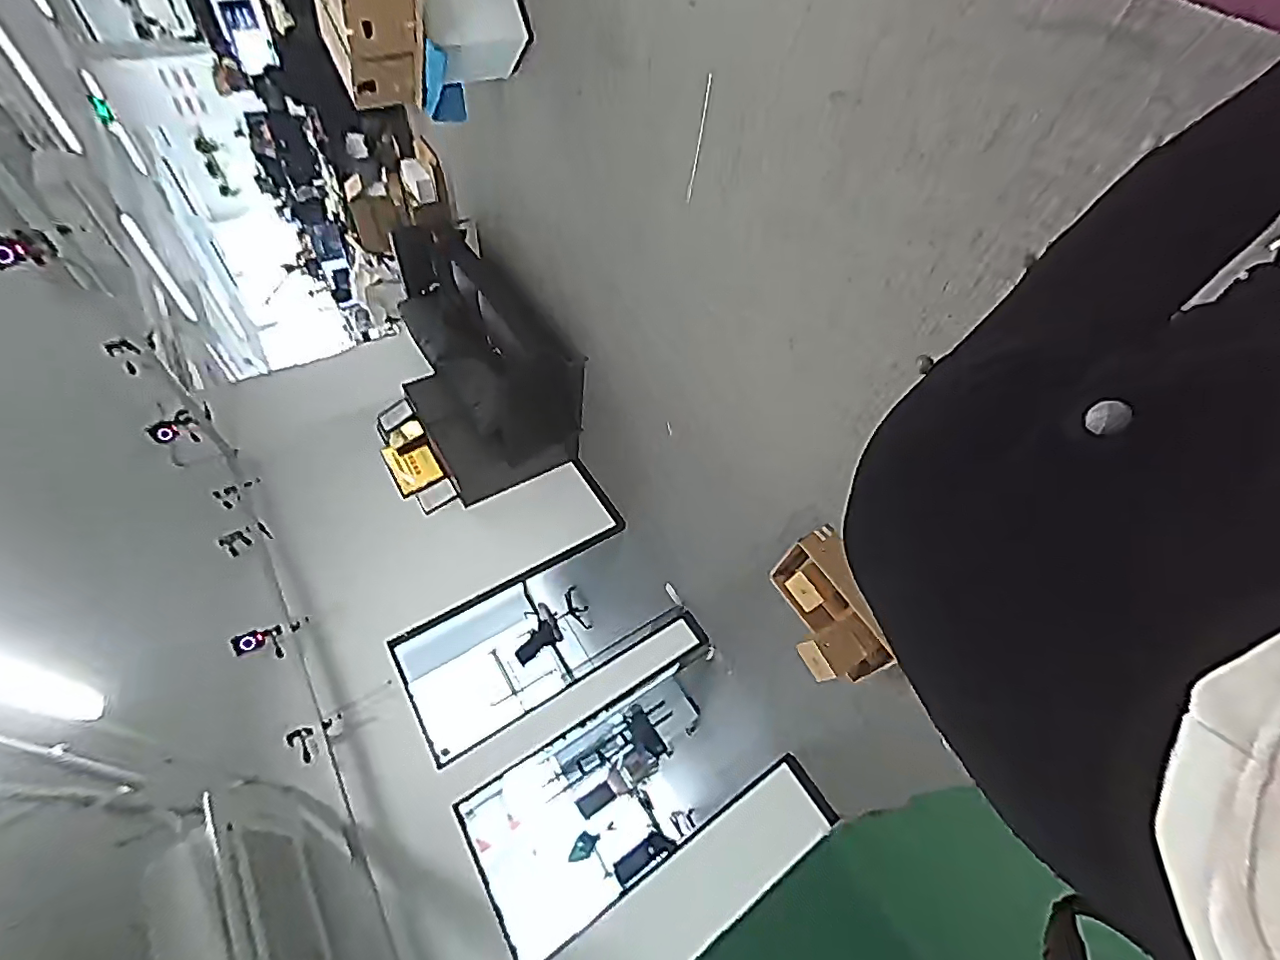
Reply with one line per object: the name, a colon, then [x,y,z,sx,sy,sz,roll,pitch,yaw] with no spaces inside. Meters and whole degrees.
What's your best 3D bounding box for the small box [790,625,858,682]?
small box: [0.789,0.739,2.317,0.179,0.176,0.168,59,156,16]
